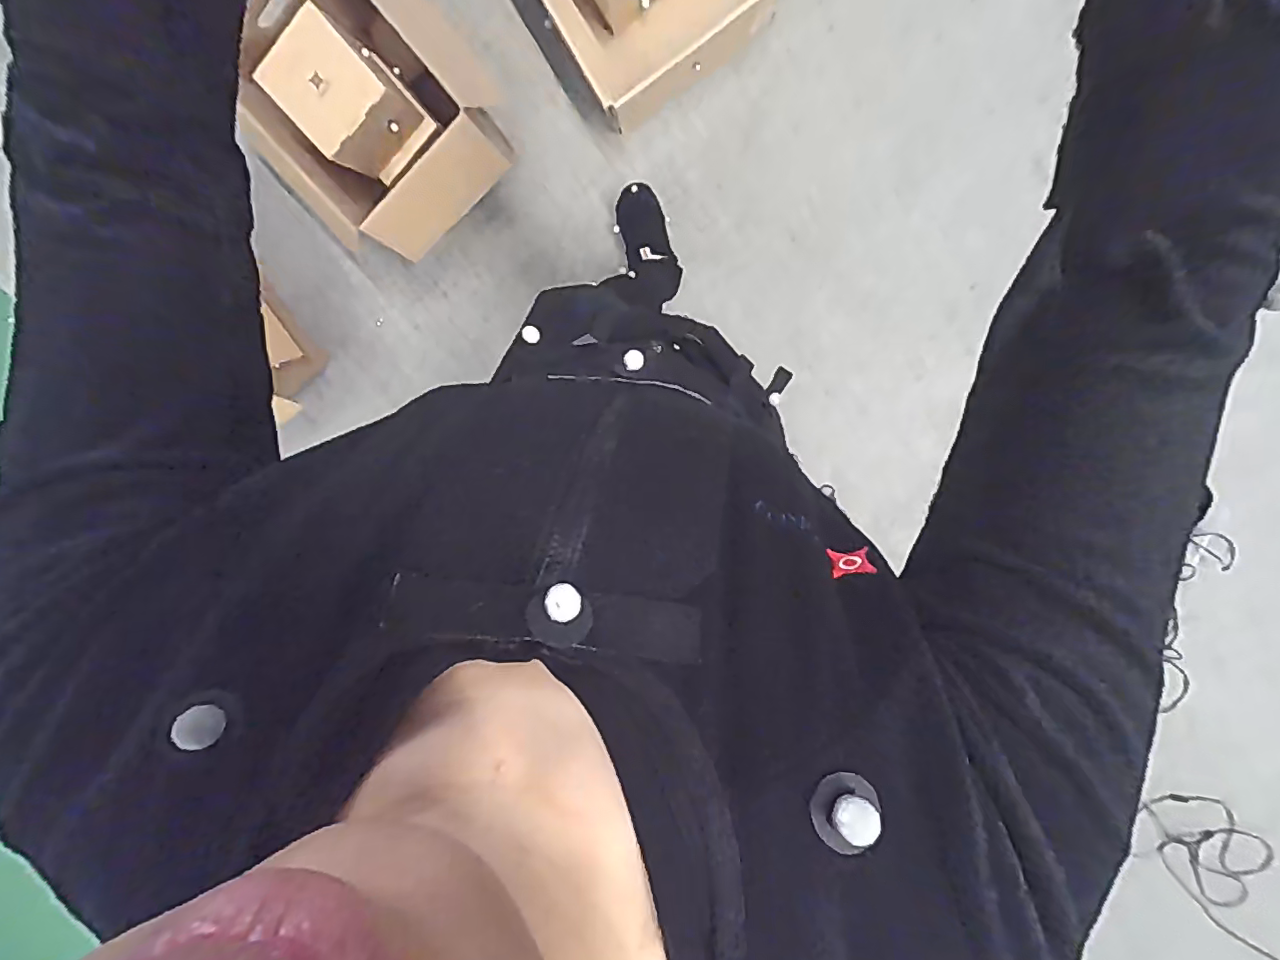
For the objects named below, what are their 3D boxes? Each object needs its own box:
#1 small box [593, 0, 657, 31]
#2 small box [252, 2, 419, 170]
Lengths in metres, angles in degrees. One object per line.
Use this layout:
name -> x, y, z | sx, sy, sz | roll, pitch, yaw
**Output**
small box -> -0.041, -1.021, 1.023 | 0.168, 0.176, 0.179 | -32, 102, 12
small box -> -0.554, -0.715, 1.012 | 0.168, 0.176, 0.179 | -39, 102, 13
